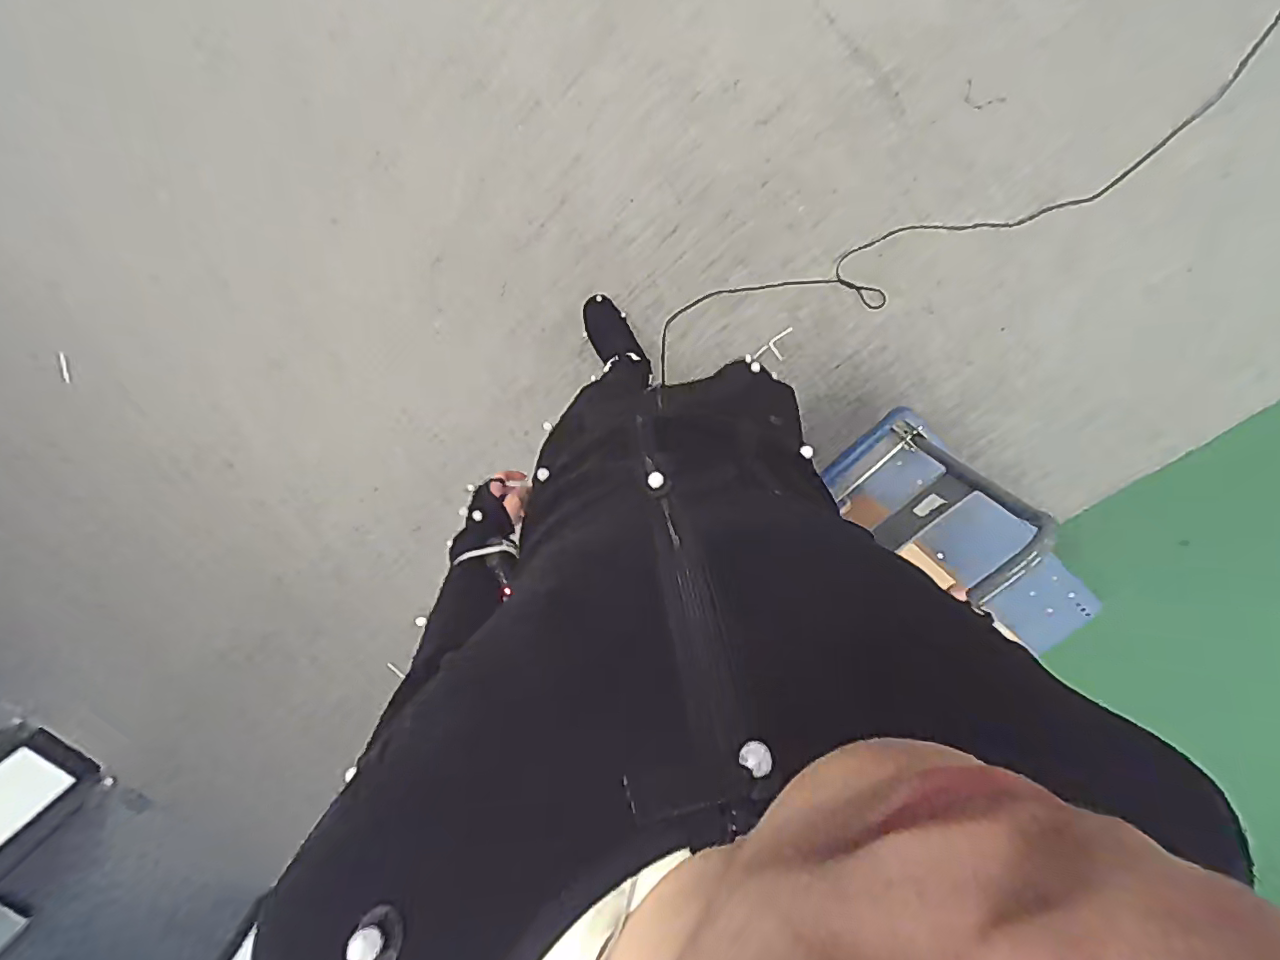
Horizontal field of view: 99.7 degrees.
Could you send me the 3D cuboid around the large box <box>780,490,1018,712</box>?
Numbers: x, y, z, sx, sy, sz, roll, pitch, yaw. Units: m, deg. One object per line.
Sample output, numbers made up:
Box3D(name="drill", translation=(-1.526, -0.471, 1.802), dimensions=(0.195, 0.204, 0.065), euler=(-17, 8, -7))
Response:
Box3D(name="large box", translation=(0.633, 0.297, 1.393), dimensions=(0.408, 0.320, 0.320), euler=(39, 108, -12))
